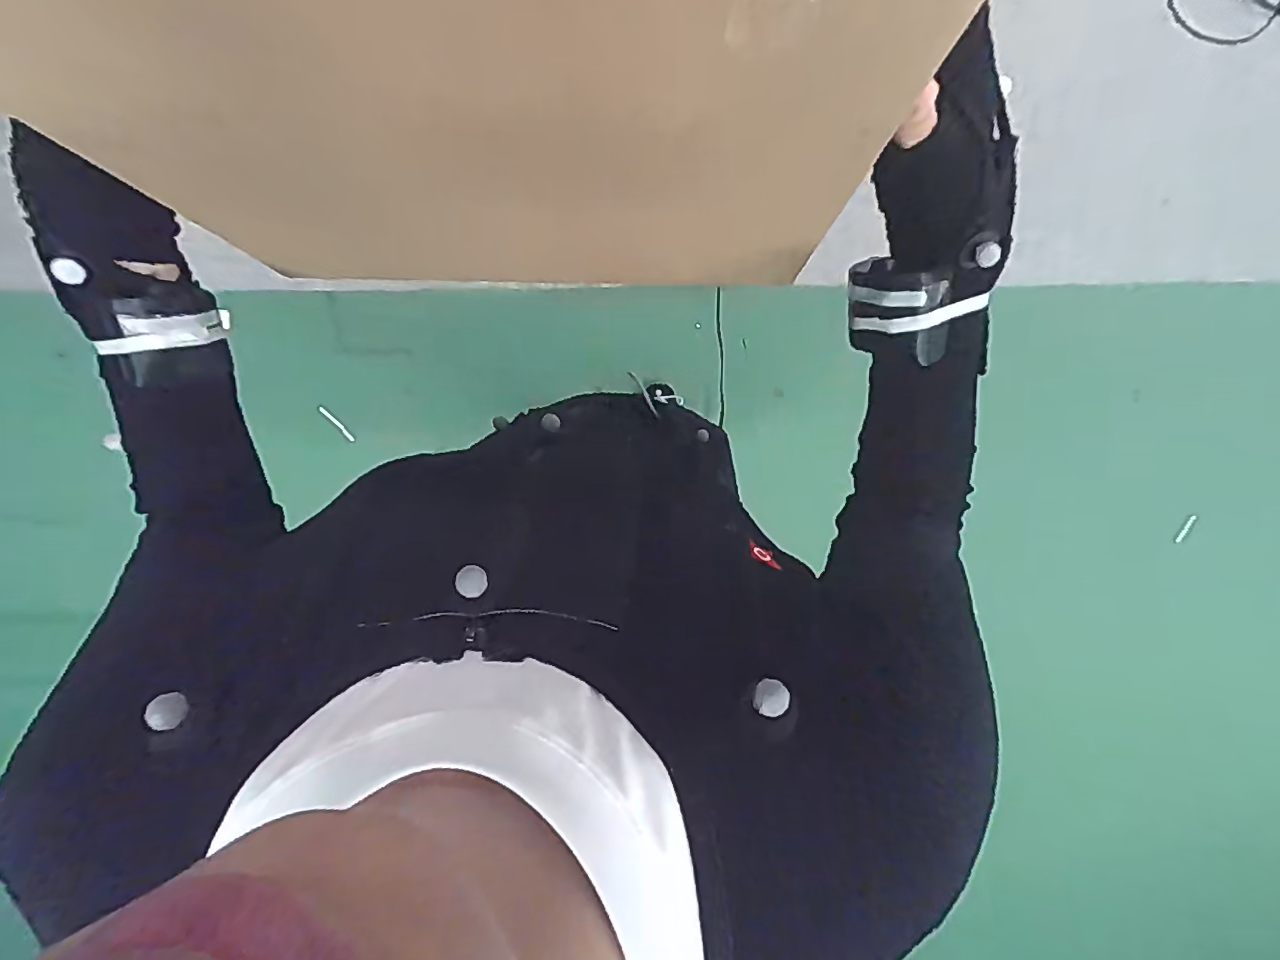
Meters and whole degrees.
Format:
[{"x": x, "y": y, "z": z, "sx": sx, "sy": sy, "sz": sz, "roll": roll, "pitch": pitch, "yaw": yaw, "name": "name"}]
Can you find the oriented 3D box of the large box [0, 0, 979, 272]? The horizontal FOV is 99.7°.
[{"x": -0.072, "y": -0.319, "z": 0.281, "sx": 0.408, "sy": 0.320, "sz": 0.320, "roll": 2, "pitch": 89, "yaw": 0, "name": "large box"}]
